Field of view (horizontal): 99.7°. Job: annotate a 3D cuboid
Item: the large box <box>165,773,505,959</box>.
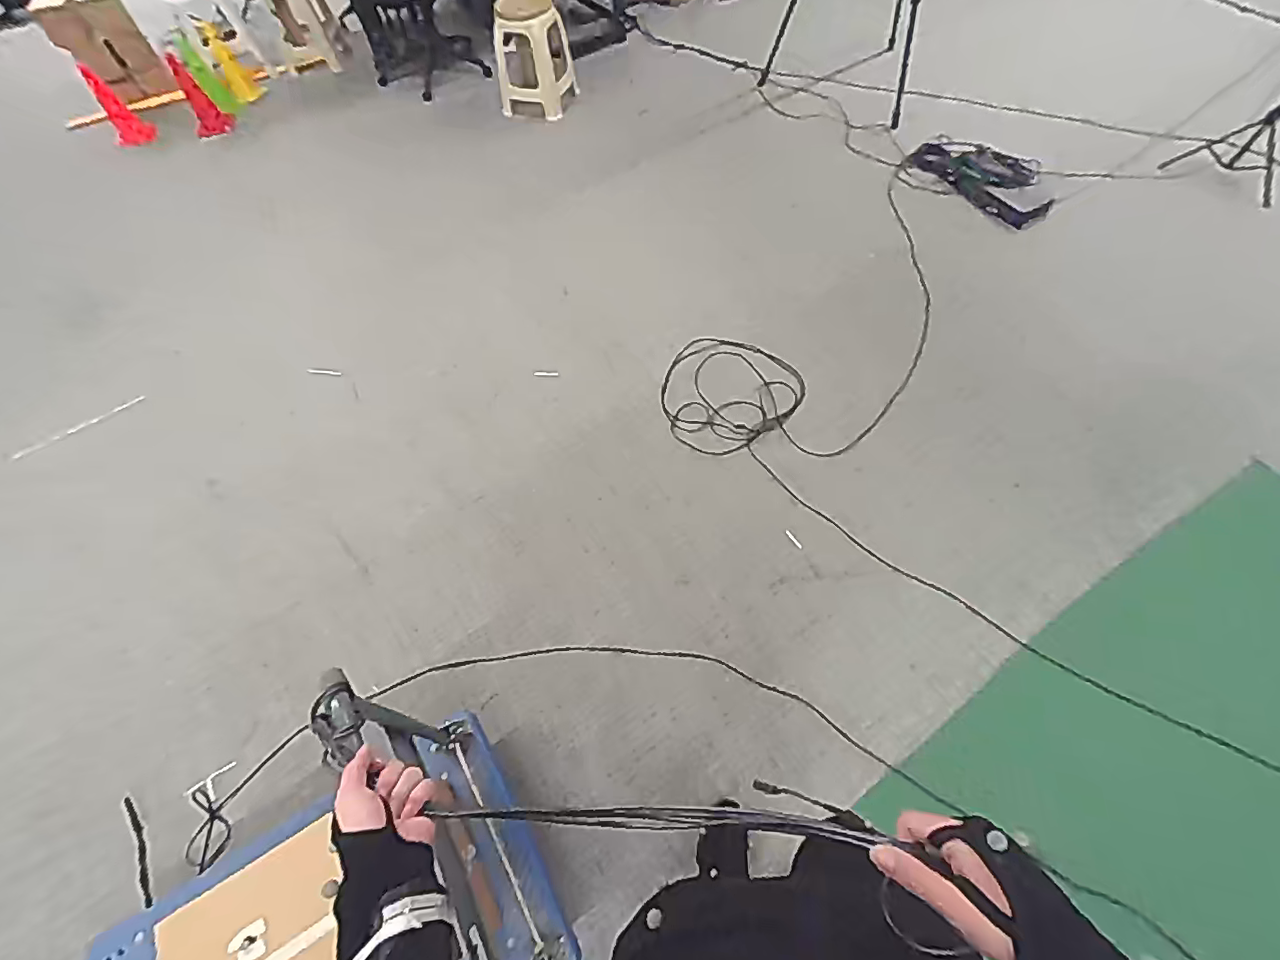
[{"bbox_3d":[-0.526,0.807,0.999,0.408,0.320,0.320,-31,63,-13],"label":"large box"}]
